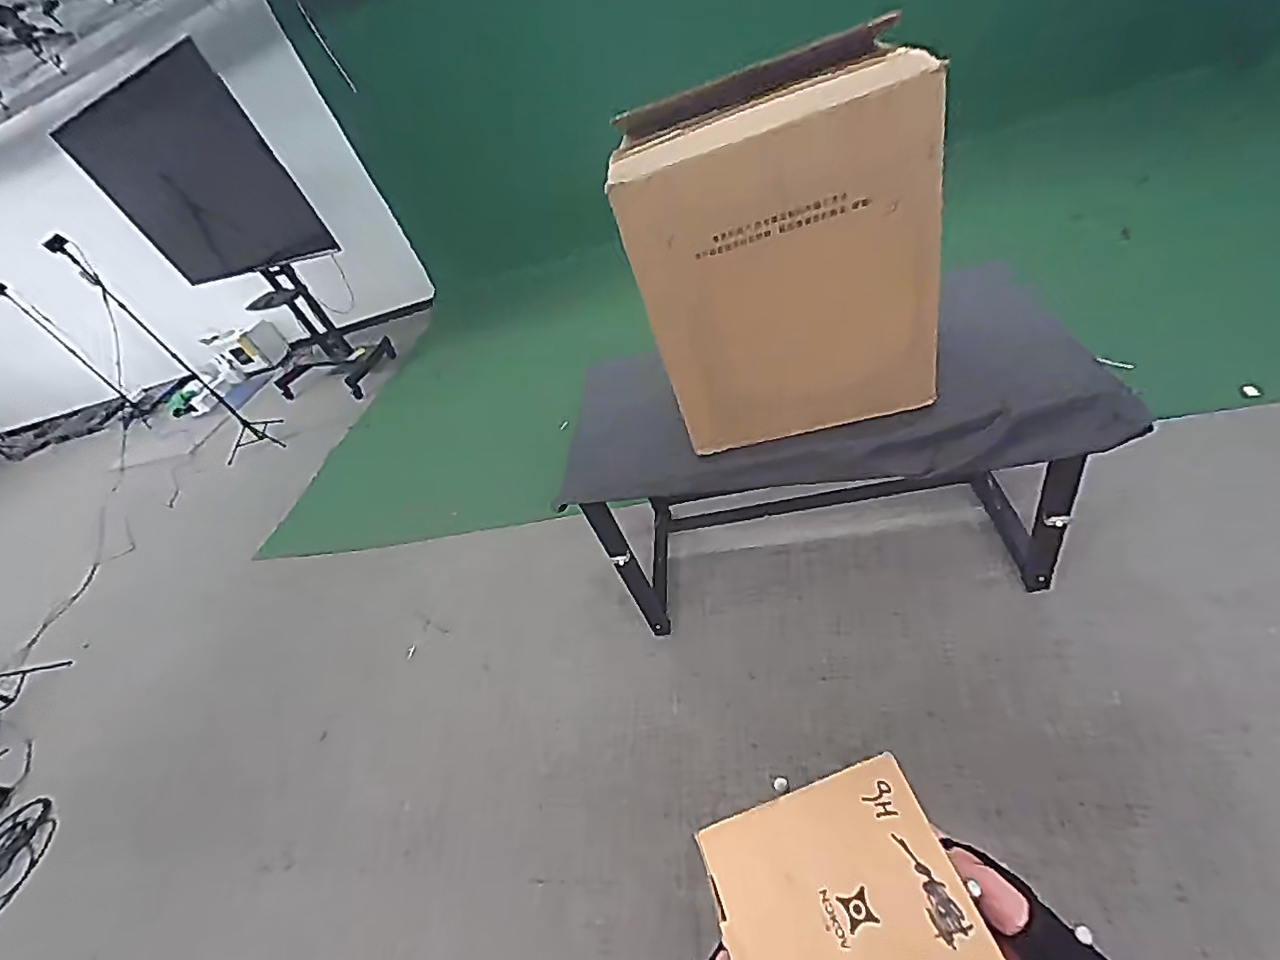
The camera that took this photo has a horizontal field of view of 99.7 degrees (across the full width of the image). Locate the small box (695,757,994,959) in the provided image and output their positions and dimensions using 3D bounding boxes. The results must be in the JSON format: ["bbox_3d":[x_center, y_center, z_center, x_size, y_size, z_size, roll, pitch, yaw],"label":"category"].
[{"bbox_3d":[0.164,0.362,0.468,0.179,0.176,0.168,-21,57,0],"label":"small box"}]
